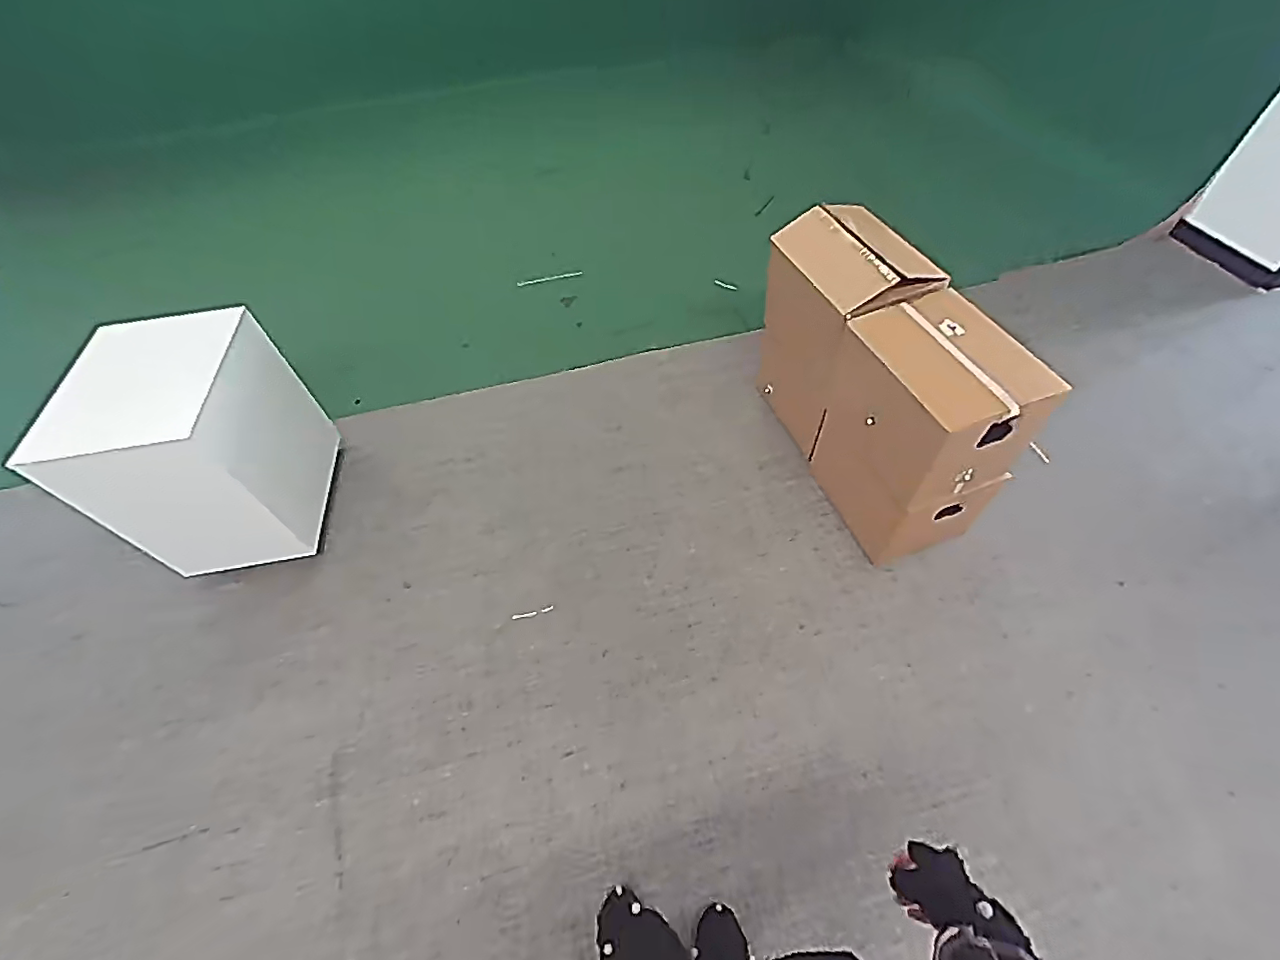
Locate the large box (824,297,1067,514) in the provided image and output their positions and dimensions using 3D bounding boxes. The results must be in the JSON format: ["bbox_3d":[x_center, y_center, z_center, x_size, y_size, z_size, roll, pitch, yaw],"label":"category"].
[{"bbox_3d":[0.730,-0.191,1.377,0.320,0.320,0.408,-18,53,-8],"label":"large box"}]
